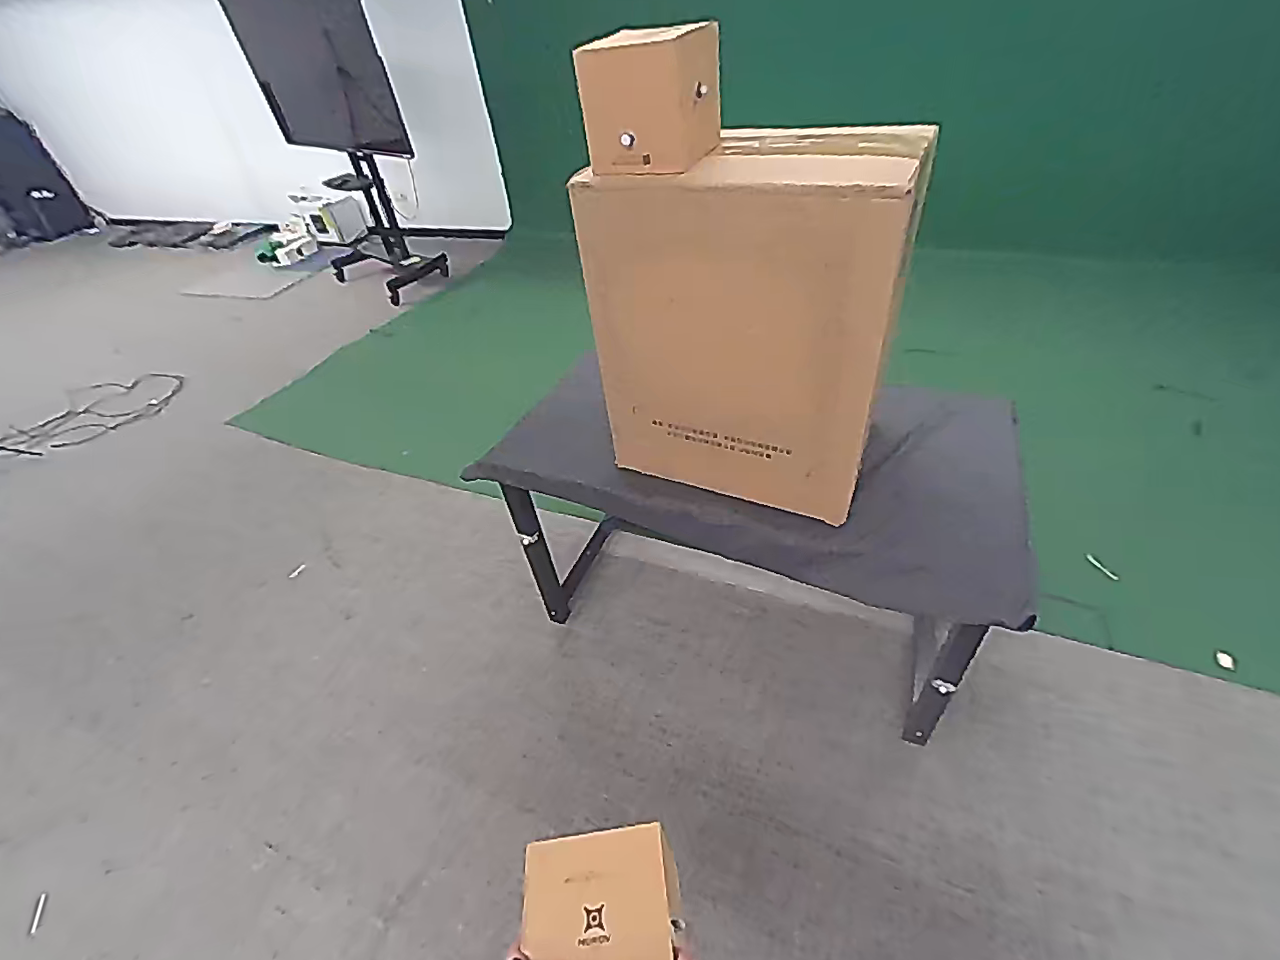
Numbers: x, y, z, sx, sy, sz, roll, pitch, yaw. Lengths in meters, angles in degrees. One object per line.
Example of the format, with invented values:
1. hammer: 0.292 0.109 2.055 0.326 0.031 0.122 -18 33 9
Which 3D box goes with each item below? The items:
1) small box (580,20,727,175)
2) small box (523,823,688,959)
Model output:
1. small box: 0.029 -0.602 0.856 0.168 0.176 0.179 16 48 25
2. small box: -0.034 0.541 0.638 0.168 0.176 0.179 -9 40 0
